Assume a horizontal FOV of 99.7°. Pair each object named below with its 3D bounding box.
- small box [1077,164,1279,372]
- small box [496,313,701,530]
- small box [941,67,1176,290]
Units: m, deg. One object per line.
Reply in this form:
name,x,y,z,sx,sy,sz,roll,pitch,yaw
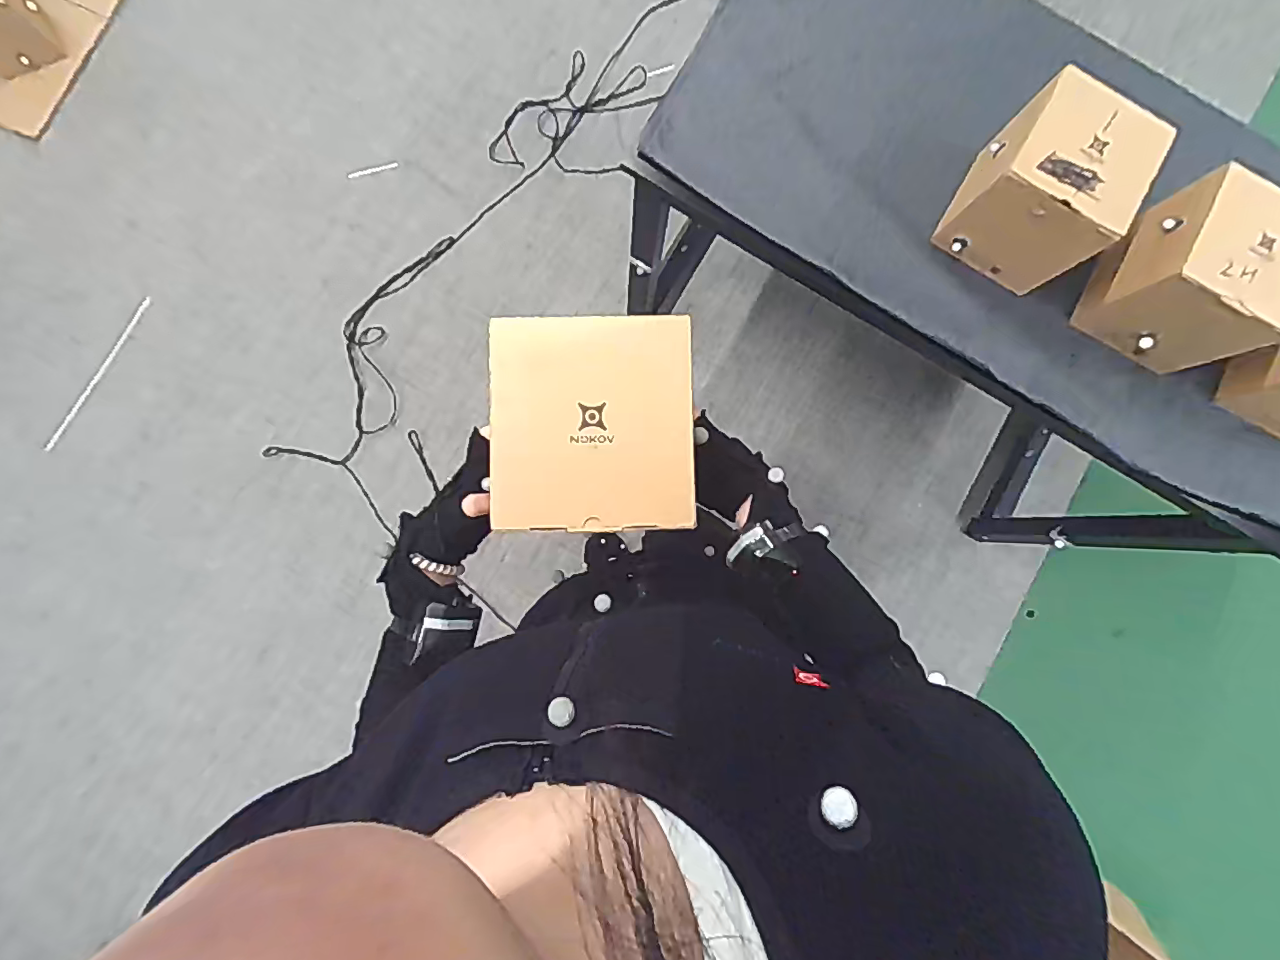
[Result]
small box,0.771,-0.281,0.754,0.168,0.176,0.179,29,84,0
small box,-0.037,-0.045,0.513,0.168,0.176,0.179,-2,88,-2
small box,0.561,-0.401,0.753,0.168,0.176,0.179,31,83,0
